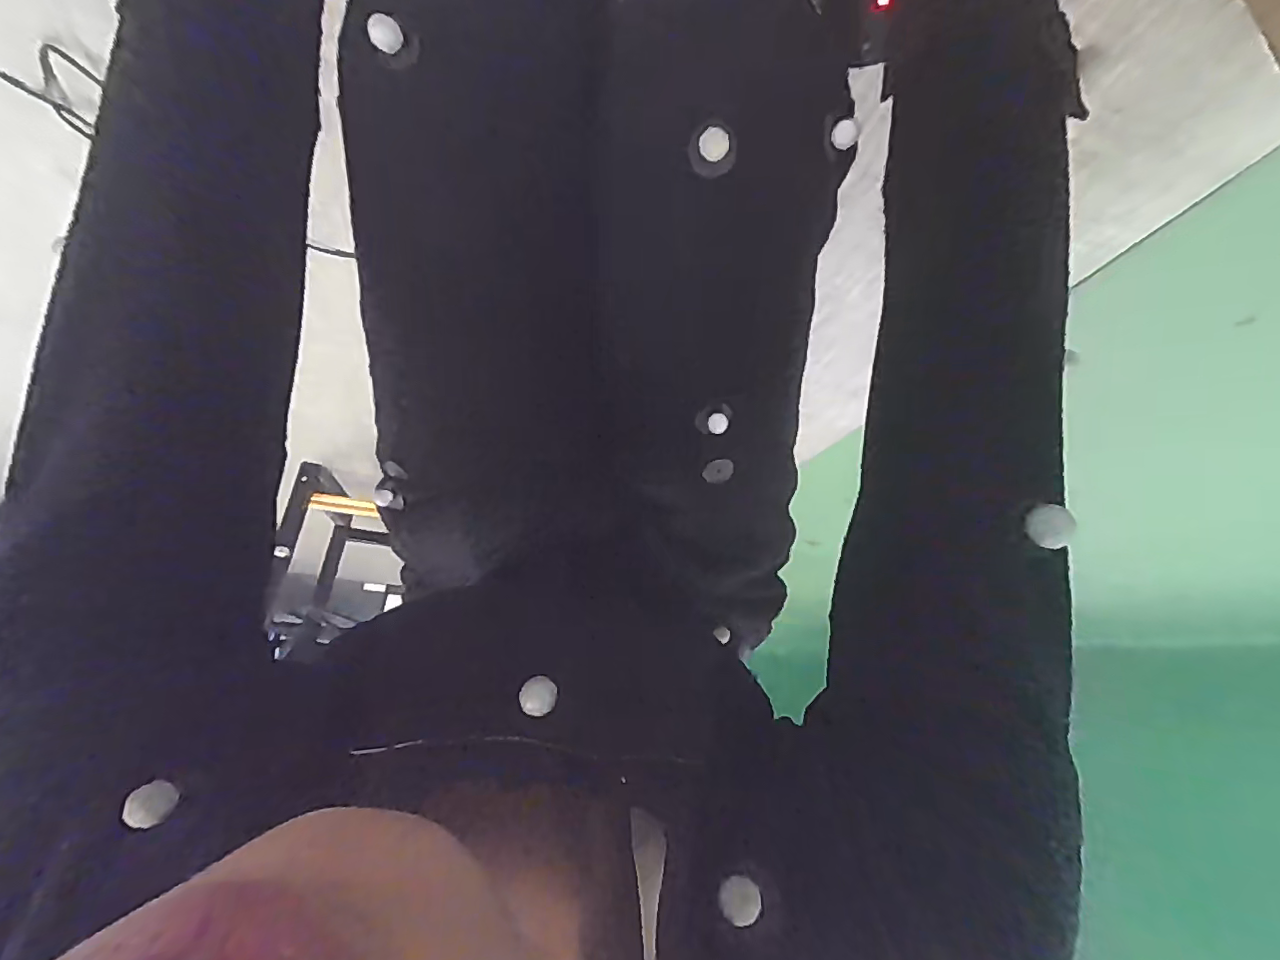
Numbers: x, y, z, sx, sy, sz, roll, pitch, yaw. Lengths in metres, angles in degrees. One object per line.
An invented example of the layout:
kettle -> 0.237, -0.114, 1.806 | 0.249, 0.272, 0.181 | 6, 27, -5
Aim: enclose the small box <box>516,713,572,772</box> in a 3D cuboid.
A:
small box -> -0.339, 0.917, 1.902 | 0.168, 0.176, 0.179 | 9, 158, -11
